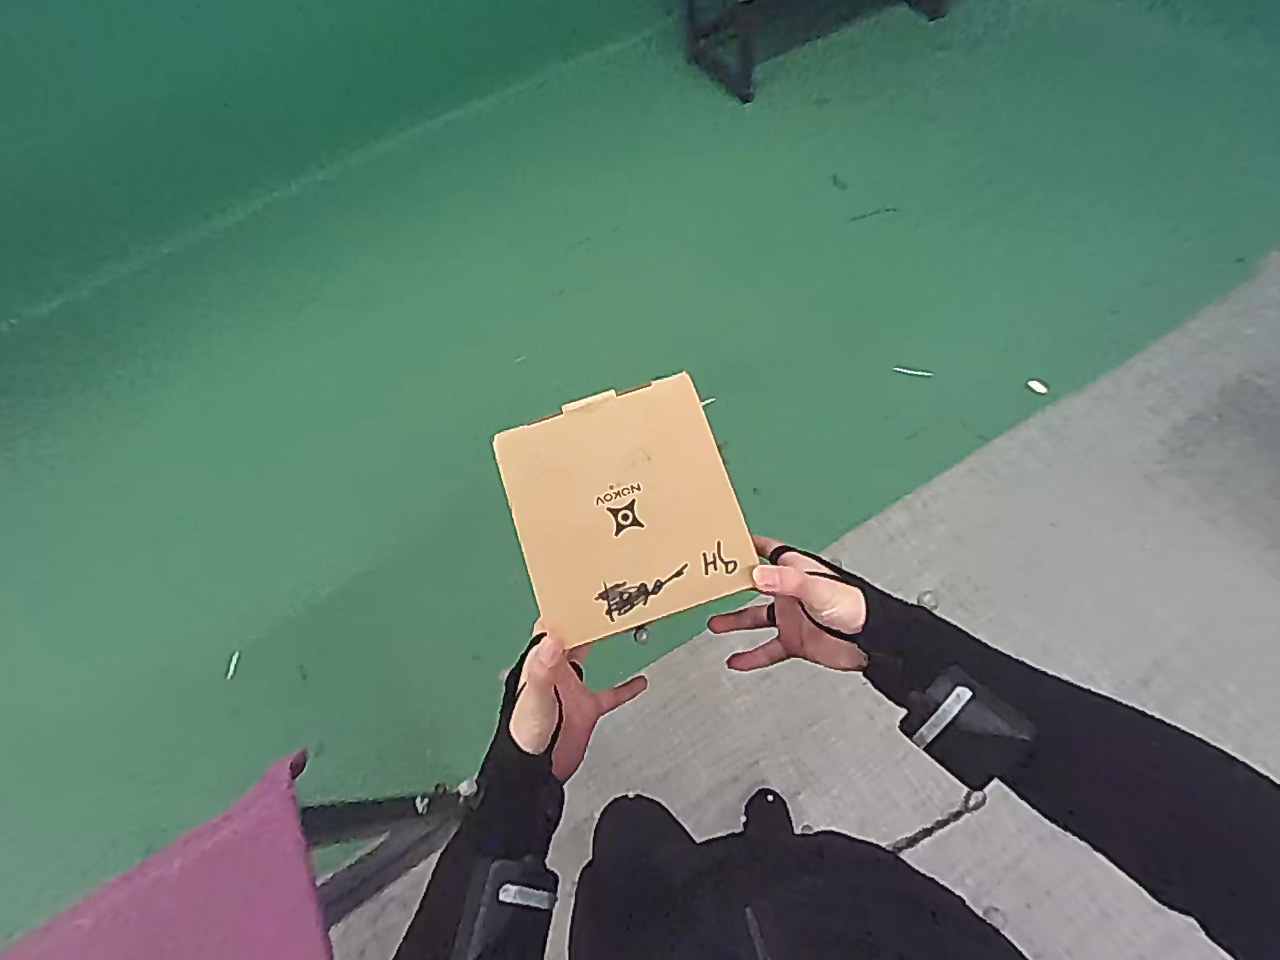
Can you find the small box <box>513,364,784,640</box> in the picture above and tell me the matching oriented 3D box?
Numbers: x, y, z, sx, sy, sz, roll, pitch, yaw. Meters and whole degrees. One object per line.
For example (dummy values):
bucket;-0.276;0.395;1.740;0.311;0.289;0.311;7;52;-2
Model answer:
small box;0.006;0.029;0.476;0.168;0.176;0.179;-17;77;0
